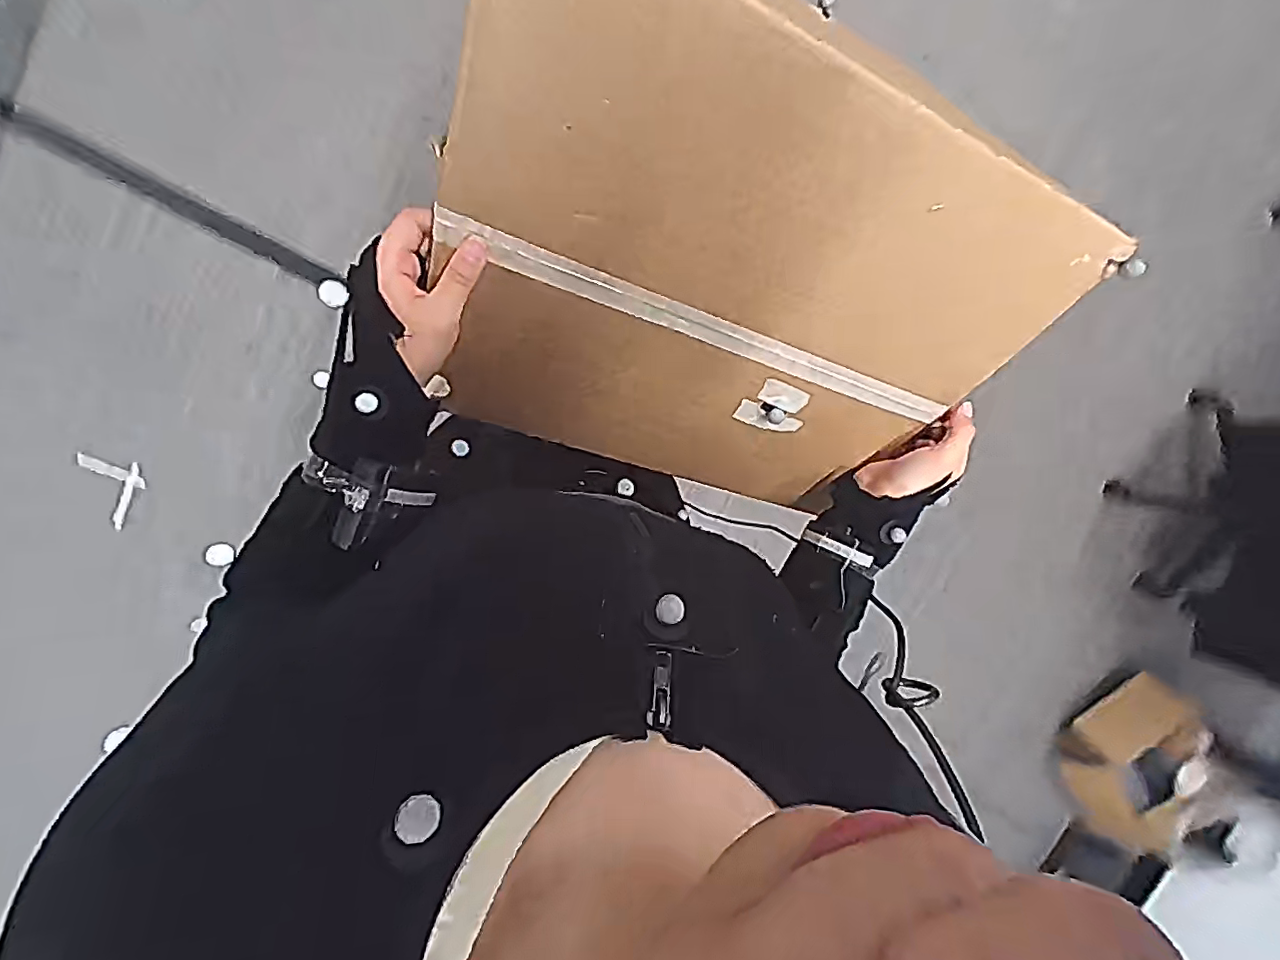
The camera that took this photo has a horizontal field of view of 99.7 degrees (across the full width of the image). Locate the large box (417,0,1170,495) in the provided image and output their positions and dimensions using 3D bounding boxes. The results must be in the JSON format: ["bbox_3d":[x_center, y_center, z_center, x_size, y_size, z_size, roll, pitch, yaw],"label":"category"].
[{"bbox_3d":[0.063,-0.231,0.453,0.408,0.320,0.320,13,139,-19],"label":"large box"}]
